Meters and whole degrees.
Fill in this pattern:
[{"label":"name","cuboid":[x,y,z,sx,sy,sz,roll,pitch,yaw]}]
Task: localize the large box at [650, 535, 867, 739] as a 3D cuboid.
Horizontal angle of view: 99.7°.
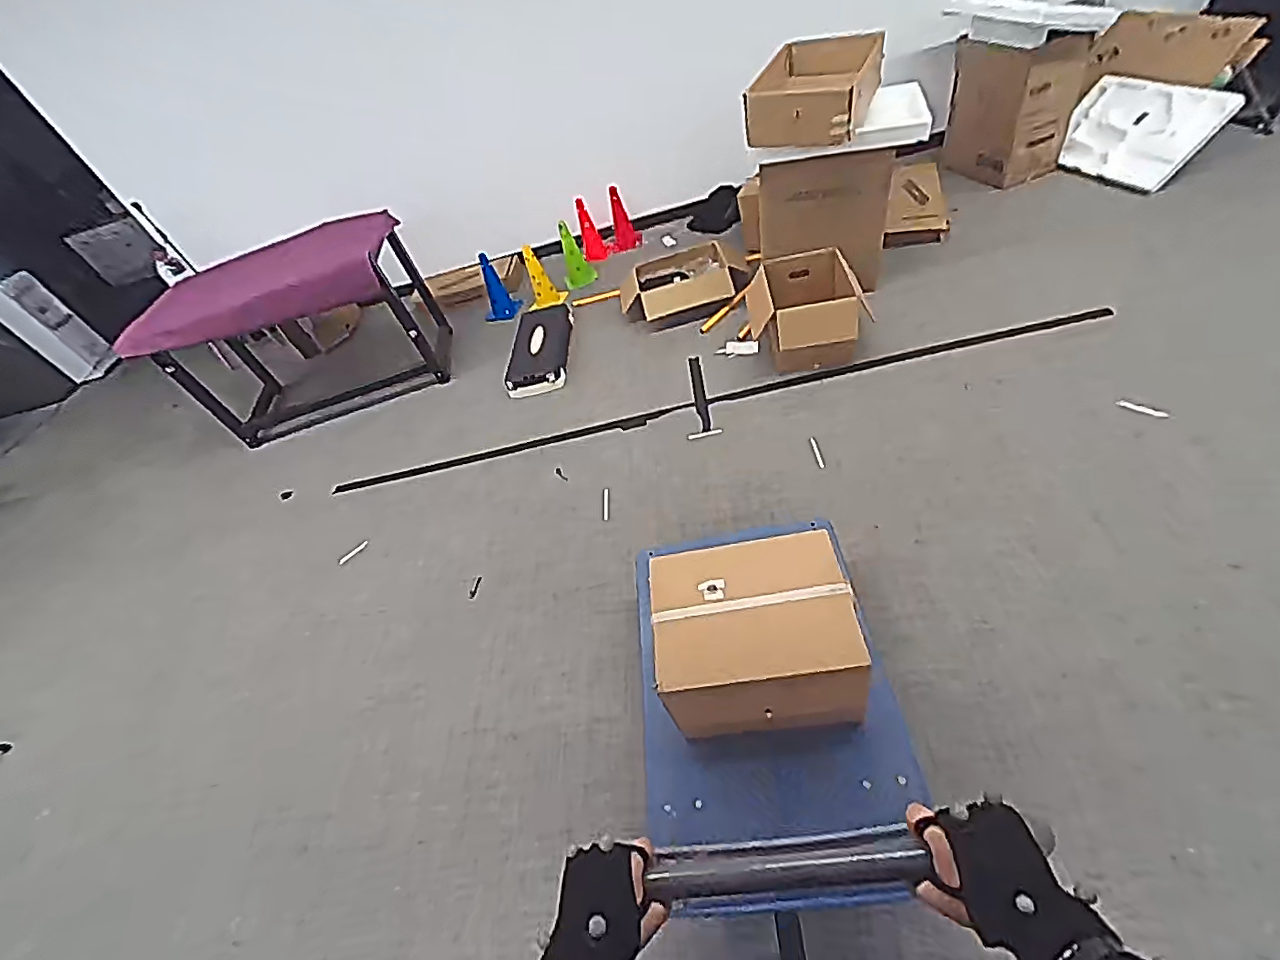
[{"label":"large box","cuboid":[0.262,0.369,1.240,0.408,0.320,0.320,-12,46,9]}]
